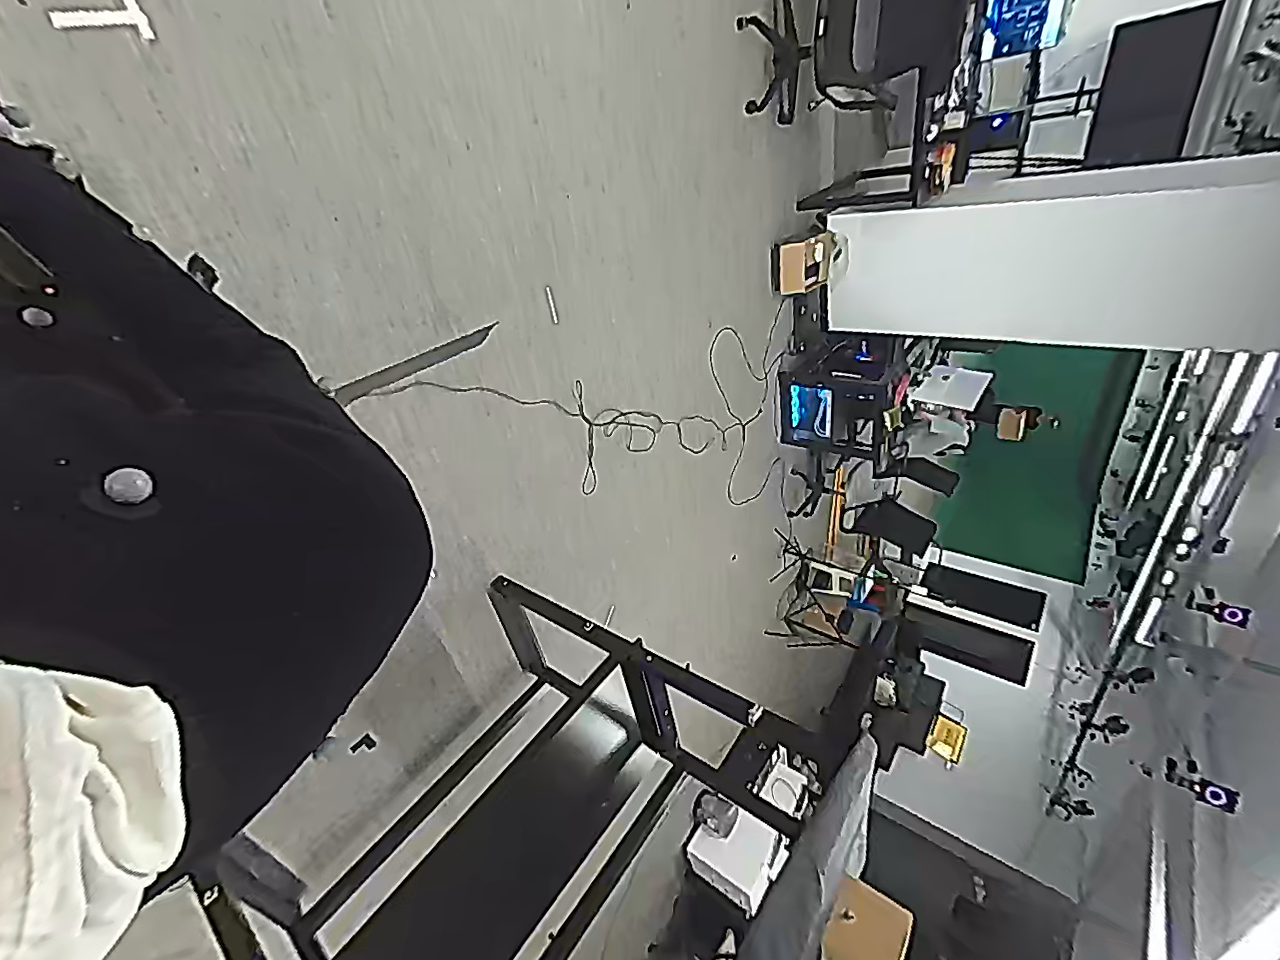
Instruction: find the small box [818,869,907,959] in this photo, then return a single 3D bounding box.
[{"bbox_3d":[0.568,1.165,1.391,0.179,0.176,0.168,-42,133,-35],"label":"small box"}]
